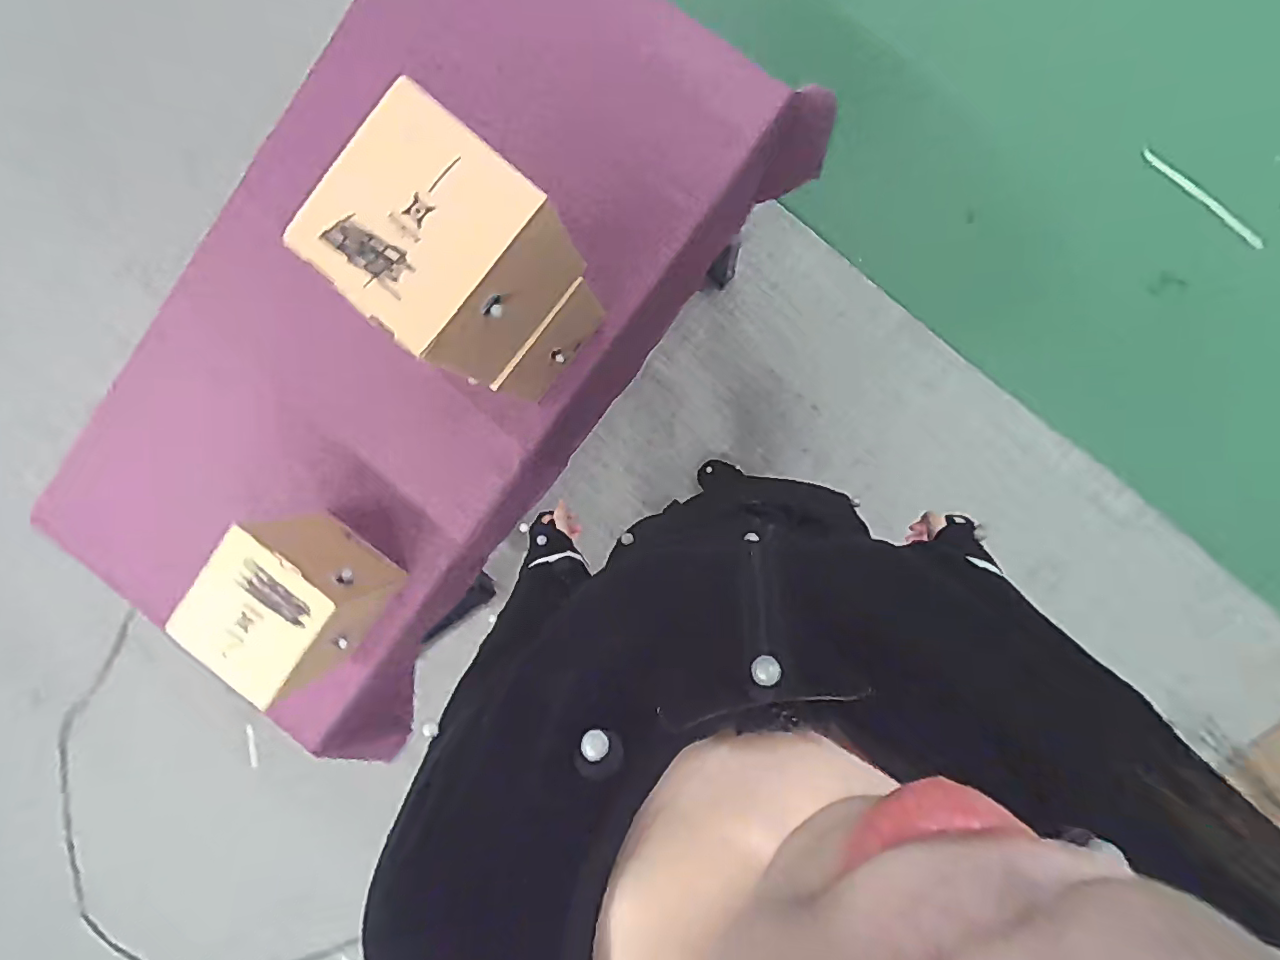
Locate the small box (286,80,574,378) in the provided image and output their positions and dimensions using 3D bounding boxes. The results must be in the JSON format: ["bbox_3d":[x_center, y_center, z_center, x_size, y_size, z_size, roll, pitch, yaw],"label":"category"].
[{"bbox_3d":[-0.187,-0.224,0.539,0.168,0.176,0.179,41,95,2],"label":"small box"}]

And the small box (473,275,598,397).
[{"bbox_3d":[-0.175,-0.223,0.703,0.179,0.176,0.168,40,95,3],"label":"small box"}]
